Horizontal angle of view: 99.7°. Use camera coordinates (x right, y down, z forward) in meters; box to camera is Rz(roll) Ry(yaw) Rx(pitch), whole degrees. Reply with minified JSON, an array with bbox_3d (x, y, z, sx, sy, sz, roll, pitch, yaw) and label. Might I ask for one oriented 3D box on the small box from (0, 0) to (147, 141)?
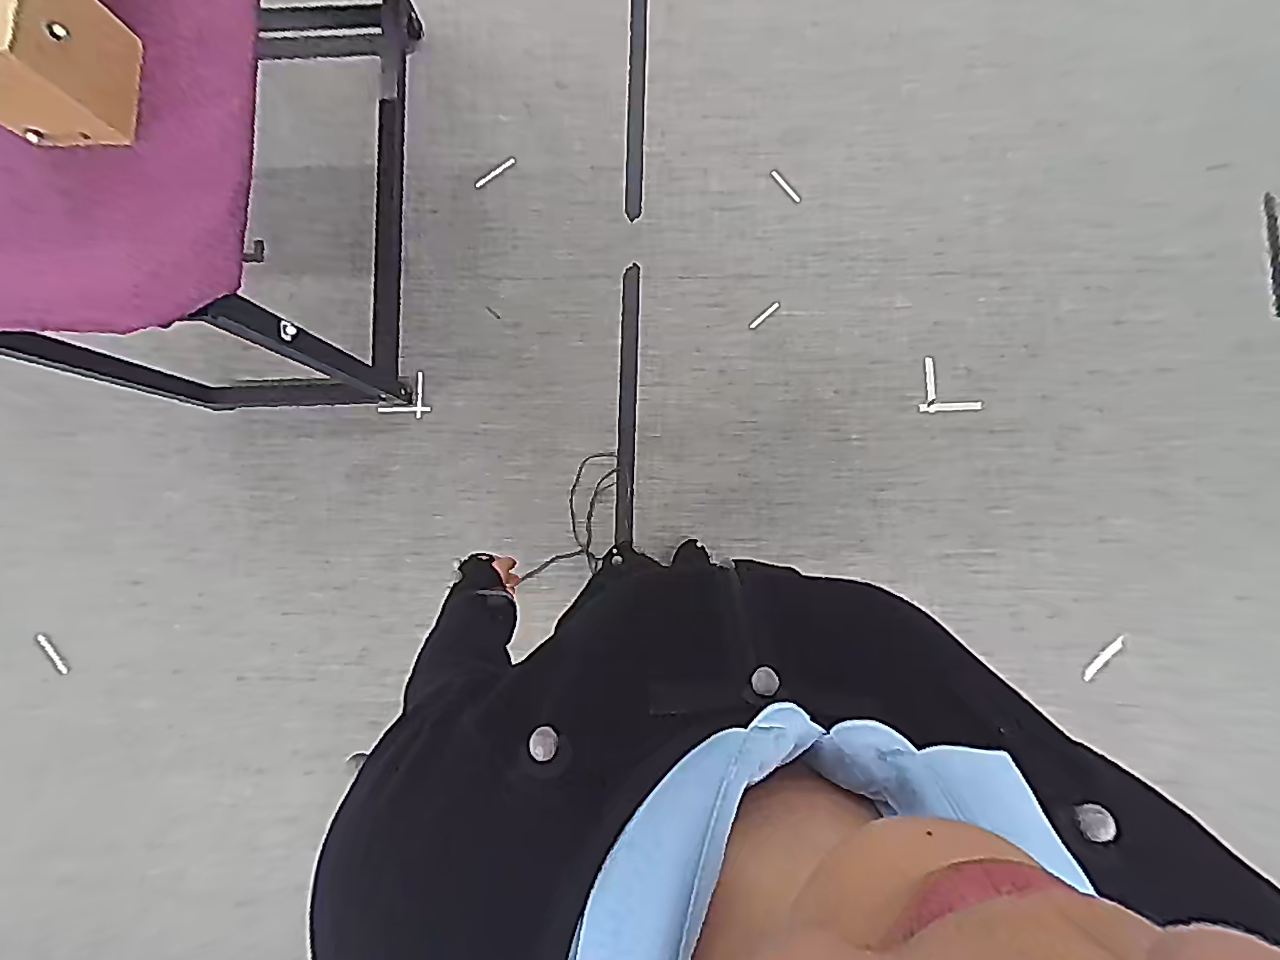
[{"bbox_3d":[-0.873,-0.625,0.784,0.168,0.176,0.179,0,85,1],"label":"small box"}]
